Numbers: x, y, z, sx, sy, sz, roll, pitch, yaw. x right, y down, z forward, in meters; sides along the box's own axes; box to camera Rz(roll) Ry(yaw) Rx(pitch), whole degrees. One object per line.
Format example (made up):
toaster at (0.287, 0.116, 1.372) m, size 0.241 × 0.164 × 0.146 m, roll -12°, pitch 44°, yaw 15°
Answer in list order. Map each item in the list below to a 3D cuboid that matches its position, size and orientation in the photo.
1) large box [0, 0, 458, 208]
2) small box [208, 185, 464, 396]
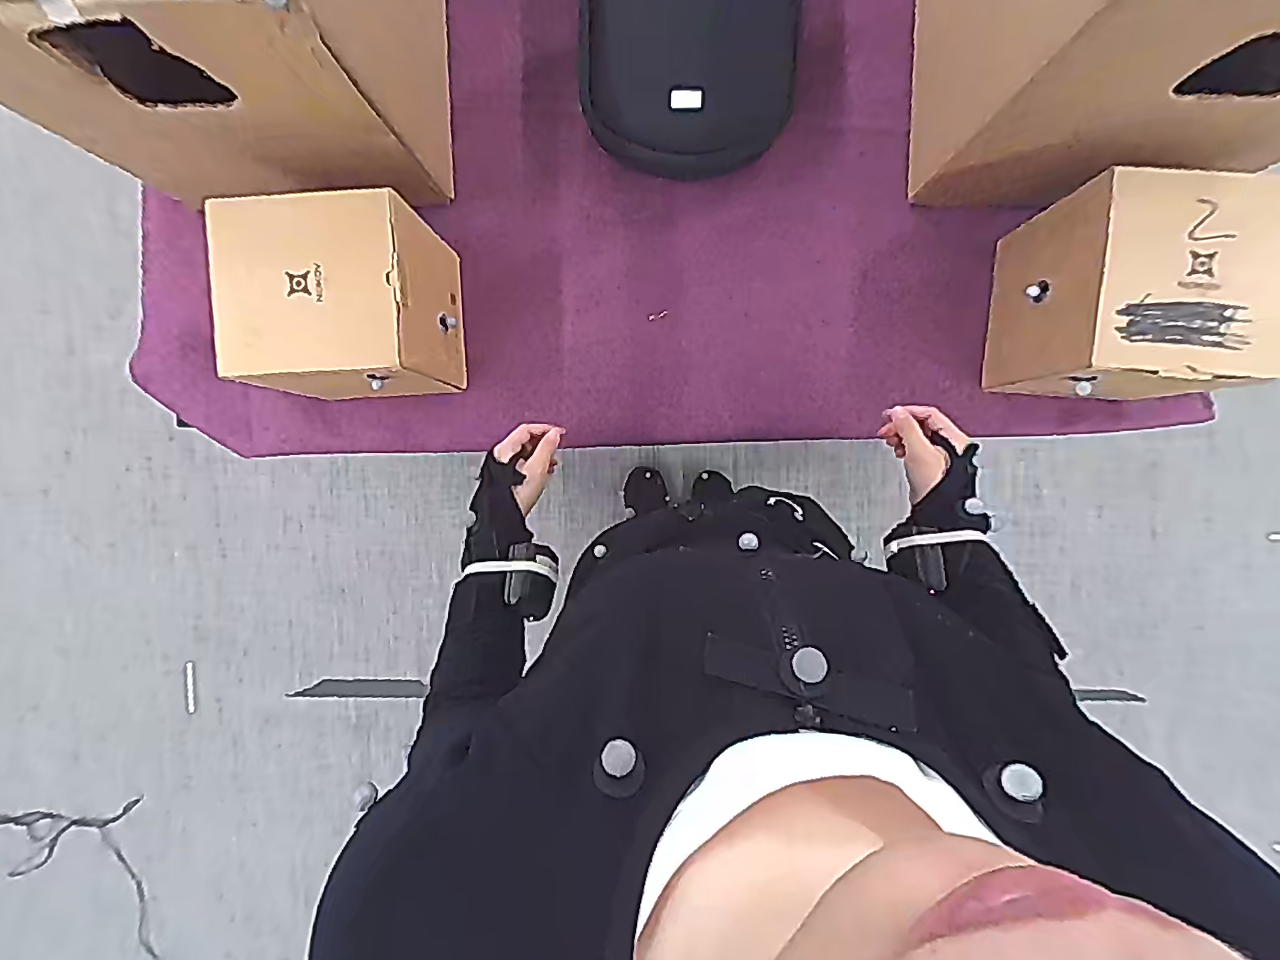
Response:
large box at (-0.378, -0.515, 0.492) m, size 0.320 × 0.320 × 0.408 m, roll -2°, pitch 95°, yaw 1°
small box at (-0.306, -0.185, 0.578) m, size 0.179 × 0.176 × 0.168 m, roll -4°, pitch 92°, yaw 1°
